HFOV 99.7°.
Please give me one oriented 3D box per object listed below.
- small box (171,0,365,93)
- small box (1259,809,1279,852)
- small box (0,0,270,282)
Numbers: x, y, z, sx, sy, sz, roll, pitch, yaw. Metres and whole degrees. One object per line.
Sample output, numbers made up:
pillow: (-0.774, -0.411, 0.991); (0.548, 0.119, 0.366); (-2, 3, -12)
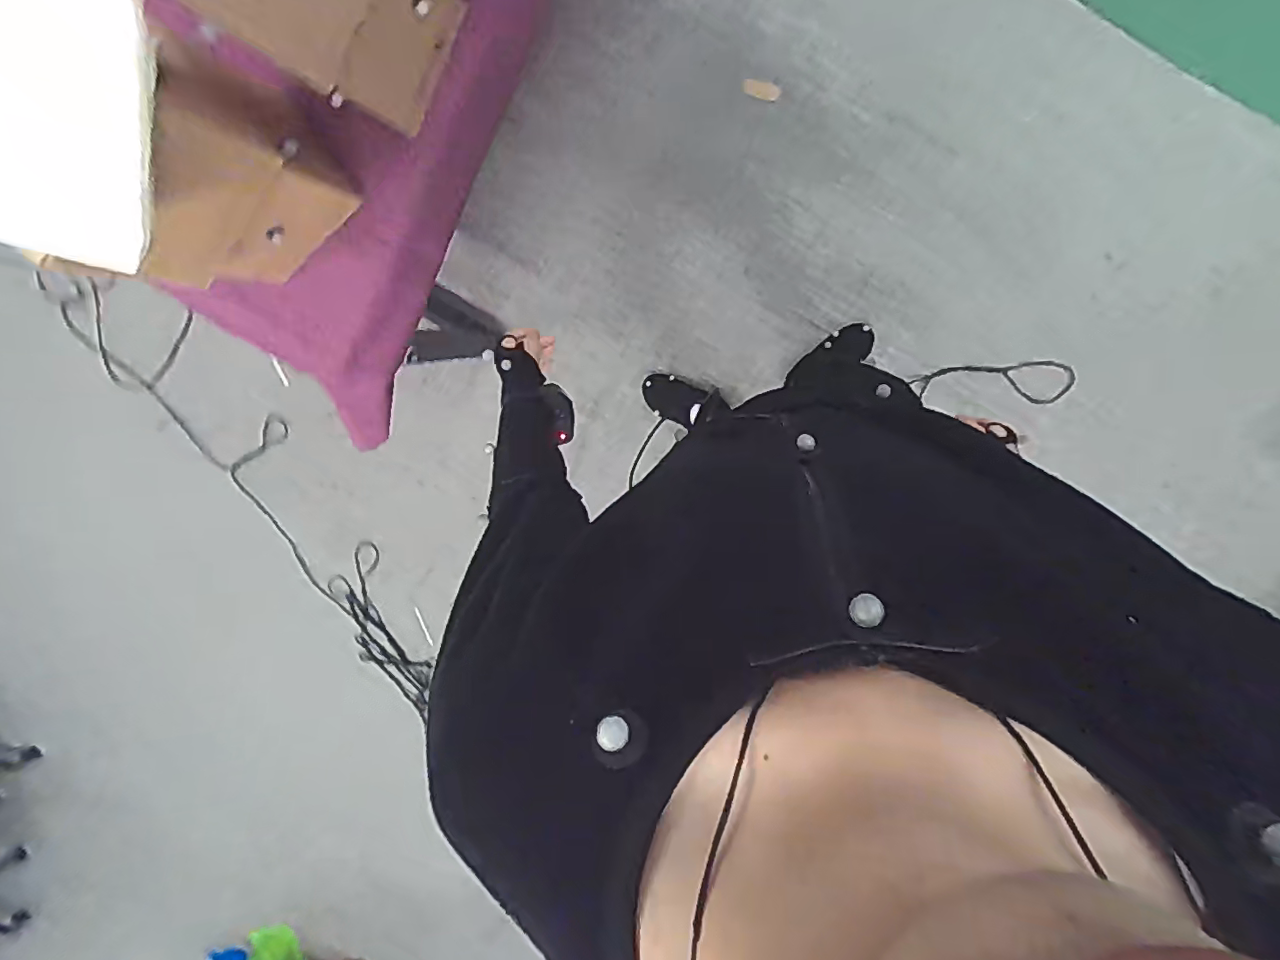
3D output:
small box: (-0.346, -0.478, 0.443); (0.168, 0.176, 0.179); (32, 106, -1)
small box: (1.544, 0.827, 1.174); (0.168, 0.176, 0.179); (-41, 98, 14)
small box: (-0.498, -0.311, 0.505); (0.168, 0.176, 0.179); (43, 105, -6)
